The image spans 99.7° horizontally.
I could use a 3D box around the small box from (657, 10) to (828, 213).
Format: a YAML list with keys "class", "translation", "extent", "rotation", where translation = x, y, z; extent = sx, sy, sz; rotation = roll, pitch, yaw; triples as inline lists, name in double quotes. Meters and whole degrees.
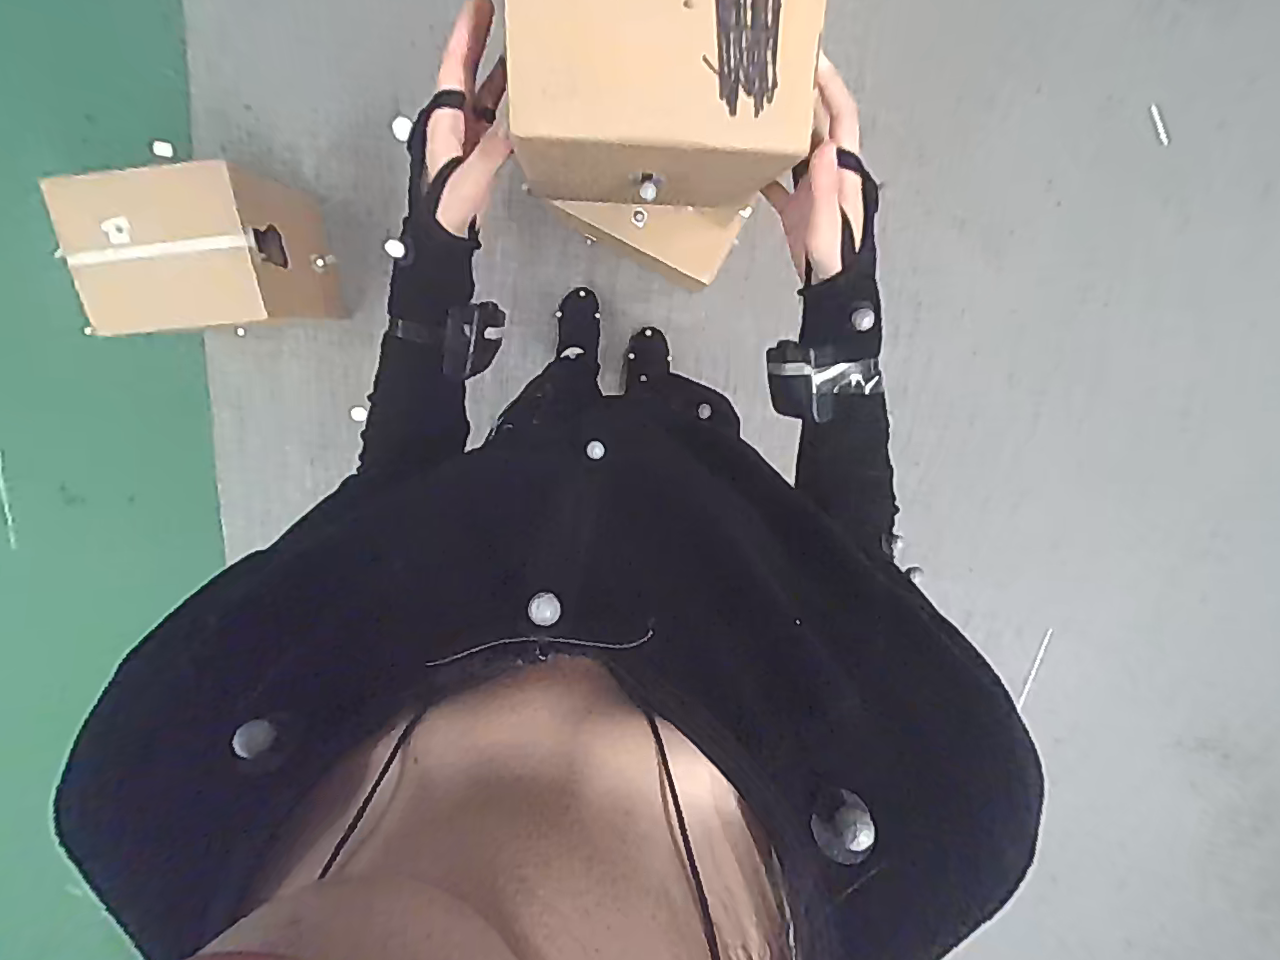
- class: "small box"
  translation: [0.140, -0.524, 0.805]
  extent: [0.179, 0.176, 0.168]
  rotation: [29, 103, -6]

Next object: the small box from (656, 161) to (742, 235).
- class: "small box"
  translation: [0.136, -0.568, 0.961]
  extent: [0.168, 0.176, 0.179]
  rotation: [27, 103, -5]

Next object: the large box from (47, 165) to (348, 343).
- class: "large box"
  translation: [-0.989, -0.504, 1.268]
  extent: [0.408, 0.320, 0.320]
  rotation: [-4, 105, 4]
